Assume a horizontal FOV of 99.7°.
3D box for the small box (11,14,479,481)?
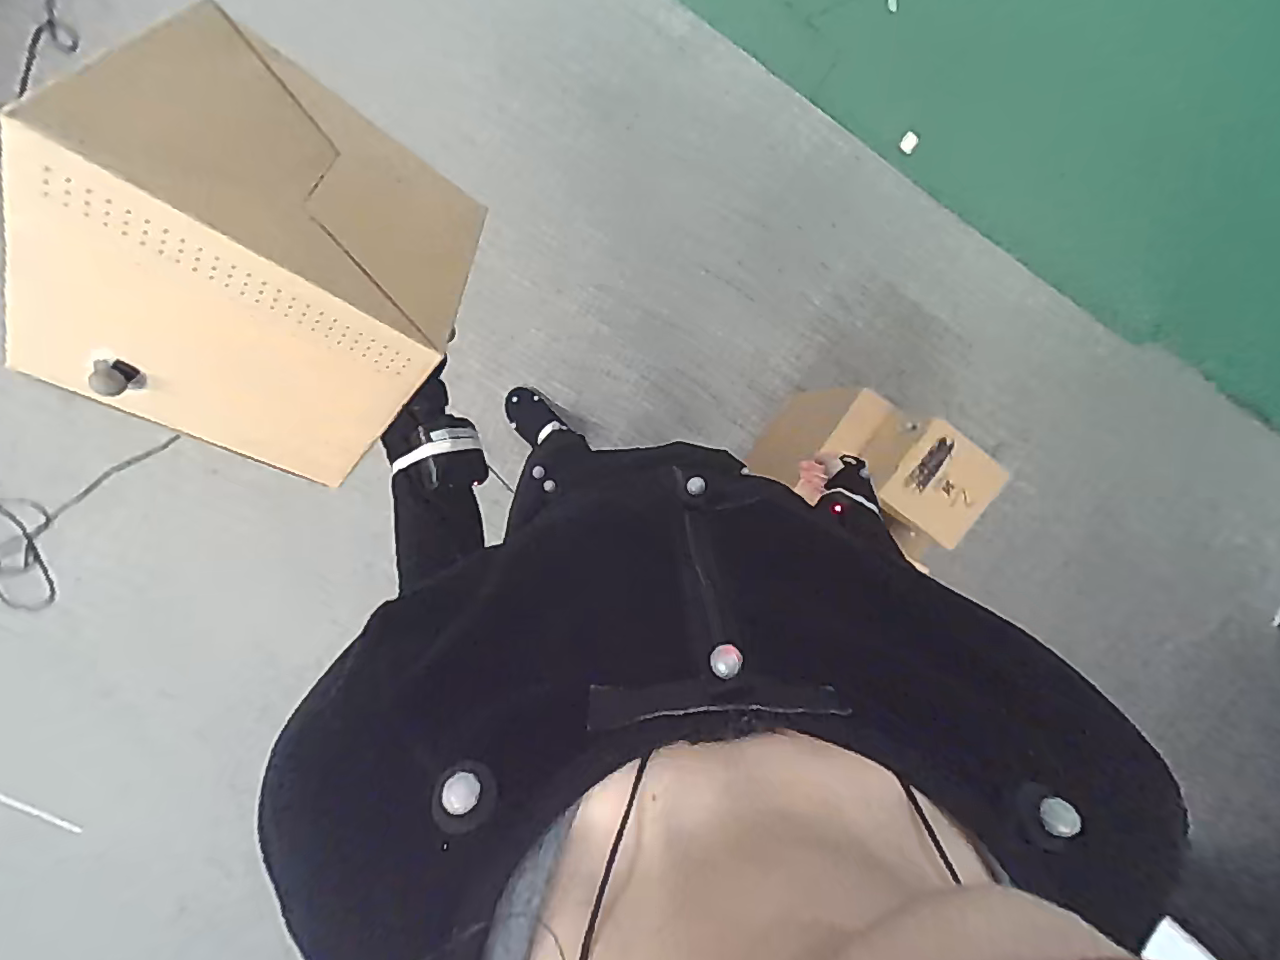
[{"bbox_3d":[-0.230,-0.132,0.344,0.179,0.168,0.176,27,136,-34],"label":"small box"}]
